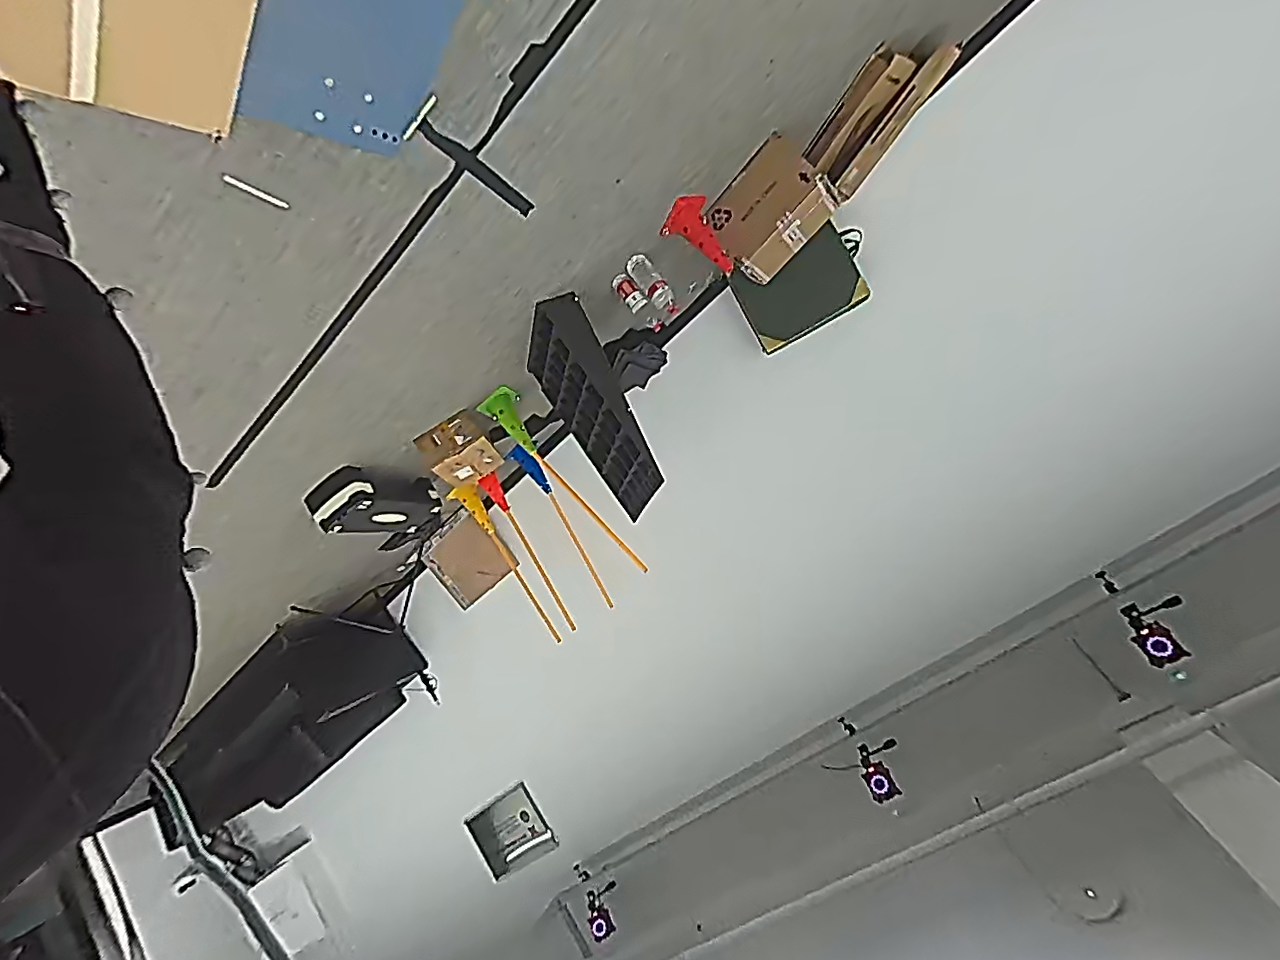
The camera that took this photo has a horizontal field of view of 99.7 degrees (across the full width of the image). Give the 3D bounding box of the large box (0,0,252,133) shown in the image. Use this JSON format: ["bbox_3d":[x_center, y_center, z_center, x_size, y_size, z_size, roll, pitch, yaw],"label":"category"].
[{"bbox_3d":[-0.644,-0.693,0.565,0.408,0.320,0.320,-43,169,33],"label":"large box"}]
